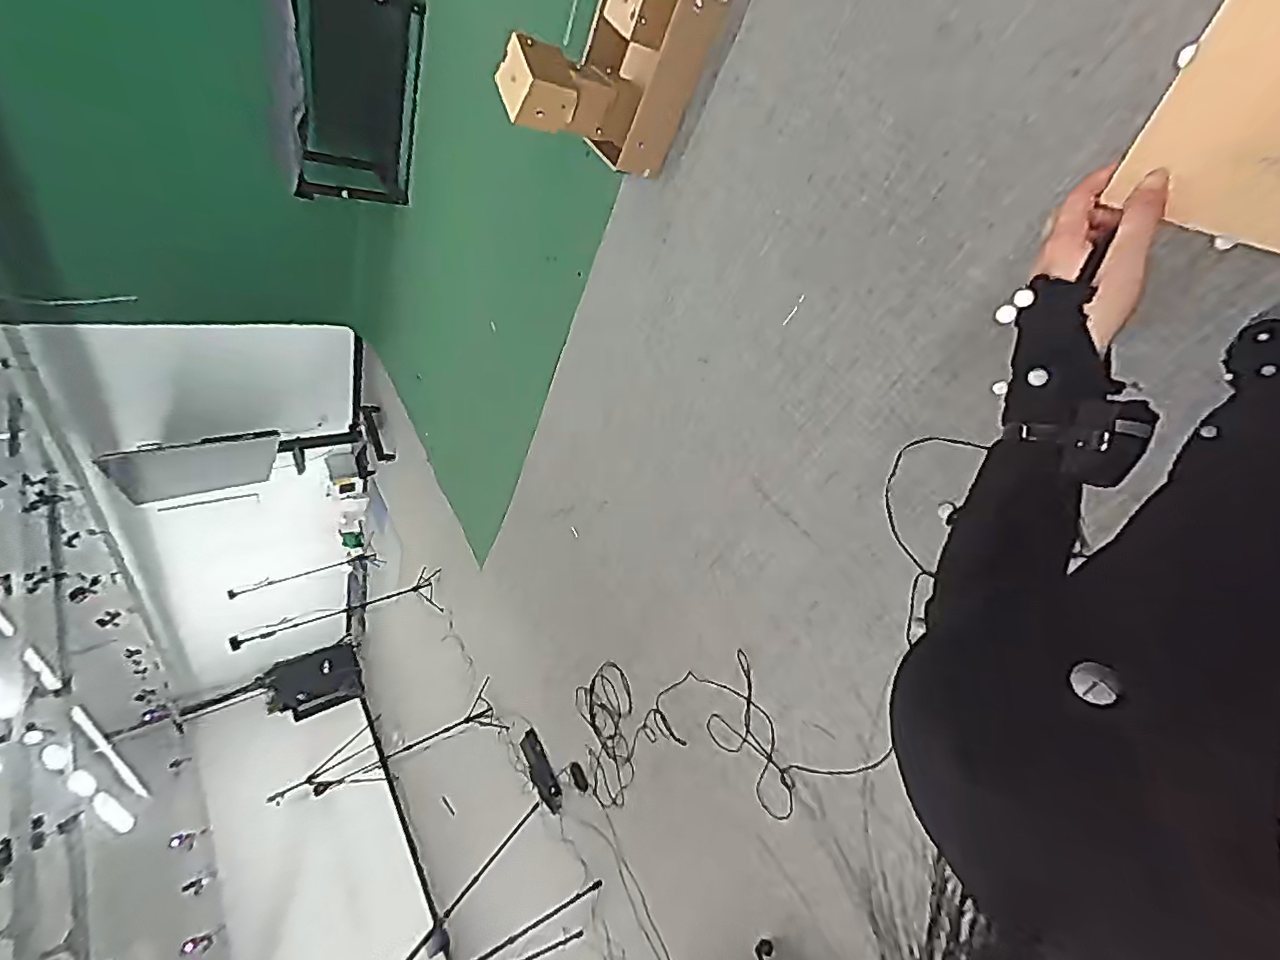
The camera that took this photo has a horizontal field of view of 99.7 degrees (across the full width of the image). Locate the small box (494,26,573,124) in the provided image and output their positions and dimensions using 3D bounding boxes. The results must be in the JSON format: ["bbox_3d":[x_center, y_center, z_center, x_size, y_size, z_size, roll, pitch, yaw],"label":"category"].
[{"bbox_3d":[-0.335,-1.272,1.716,0.168,0.176,0.179,-29,77,50],"label":"small box"}]

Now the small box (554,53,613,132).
[{"bbox_3d":[-0.218,-1.305,1.823,0.179,0.176,0.168,55,136,25],"label":"small box"}]

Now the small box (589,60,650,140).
[{"bbox_3d":[-0.097,-1.347,1.927,0.179,0.176,0.168,54,136,25],"label":"small box"}]

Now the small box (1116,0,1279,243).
[{"bbox_3d":[0.475,-0.253,0.349,0.168,0.176,0.179,43,139,34],"label":"small box"}]

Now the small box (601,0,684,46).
[{"bbox_3d":[0.009,-1.548,1.743,0.179,0.176,0.168,58,138,20],"label":"small box"}]
